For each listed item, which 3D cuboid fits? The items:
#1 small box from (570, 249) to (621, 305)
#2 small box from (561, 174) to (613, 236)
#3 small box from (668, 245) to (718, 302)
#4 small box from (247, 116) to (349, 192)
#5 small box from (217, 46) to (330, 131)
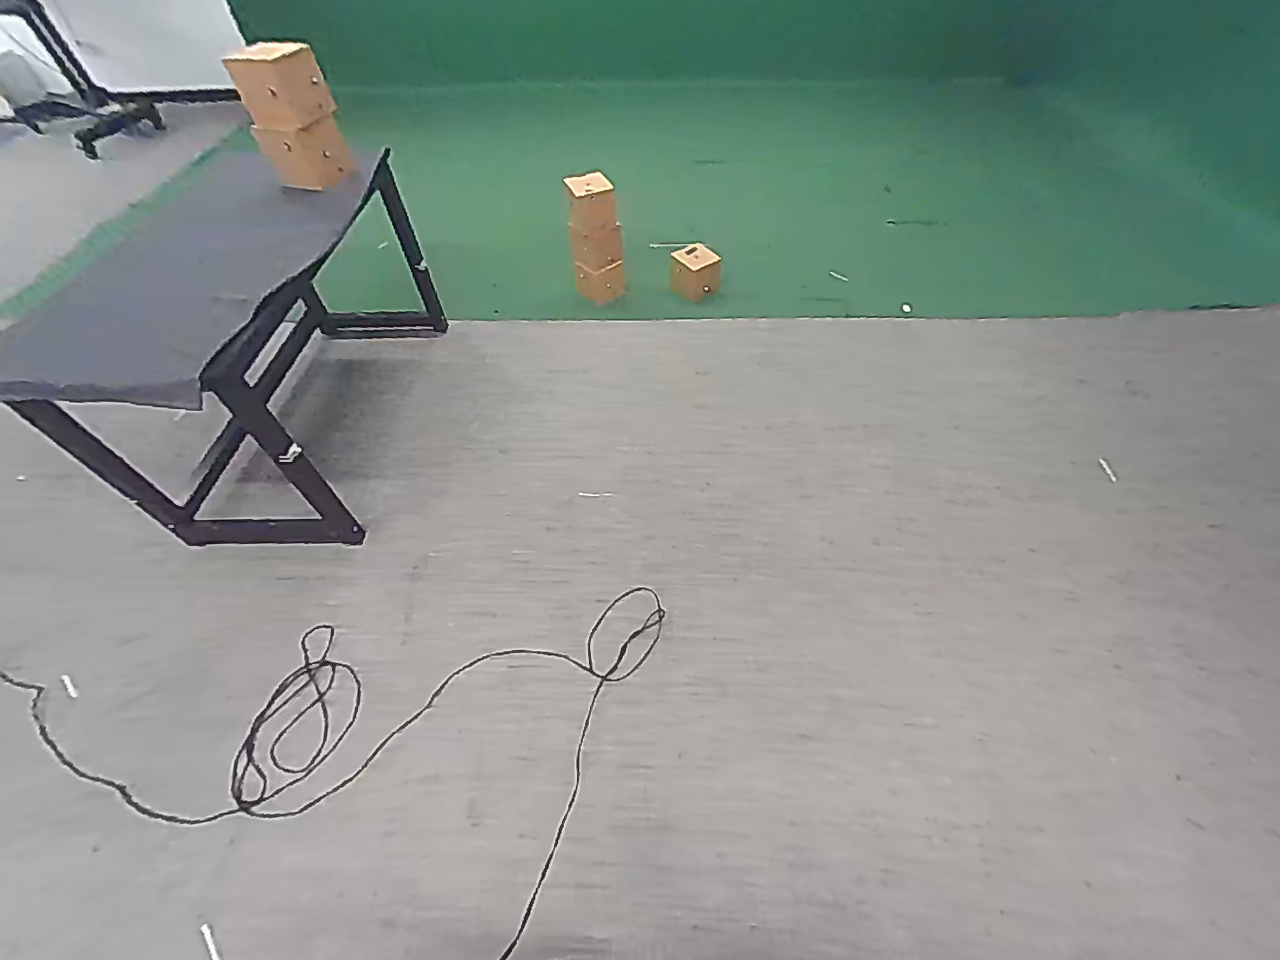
[{"bbox_3d":[-0.204,-0.945,2.536,0.168,0.176,0.179,-37,58,-23],"label":"small box"},{"bbox_3d":[-0.224,-1.164,2.290,0.168,0.176,0.179,-20,54,-13],"label":"small box"},{"bbox_3d":[0.241,-0.965,2.530,0.168,0.176,0.179,-31,58,-20],"label":"small box"},{"bbox_3d":[-1.062,-1.027,1.698,0.179,0.176,0.168,15,54,16],"label":"small box"},{"bbox_3d":[-1.060,-1.143,1.582,0.179,0.176,0.168,10,52,13],"label":"small box"}]
